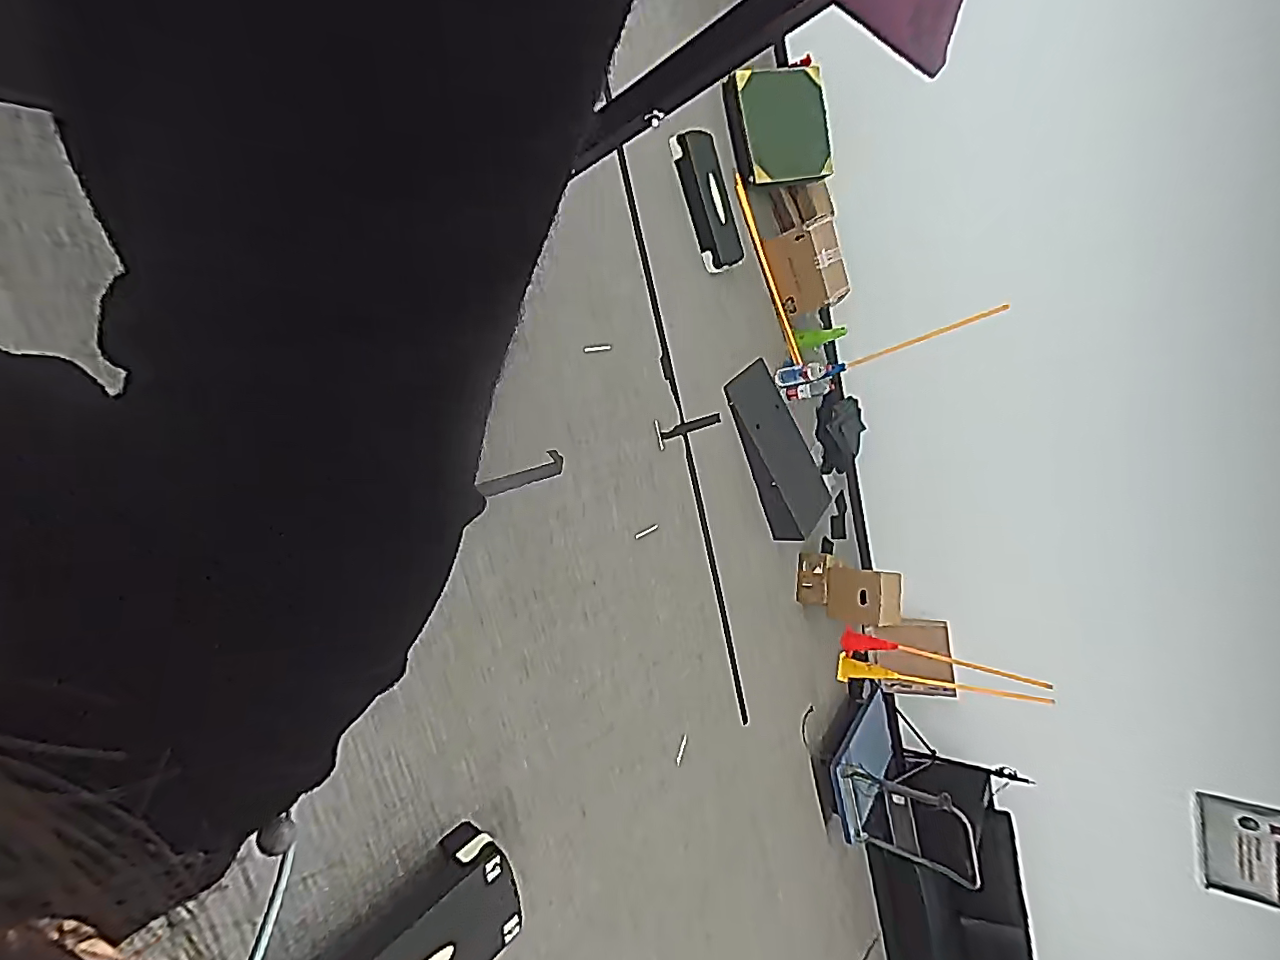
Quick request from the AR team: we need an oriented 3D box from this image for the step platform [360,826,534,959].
[{"bbox_3d":[-0.593,1.233,1.378,0.684,0.204,0.286,-14,96,-49],"label":"step platform"}]
